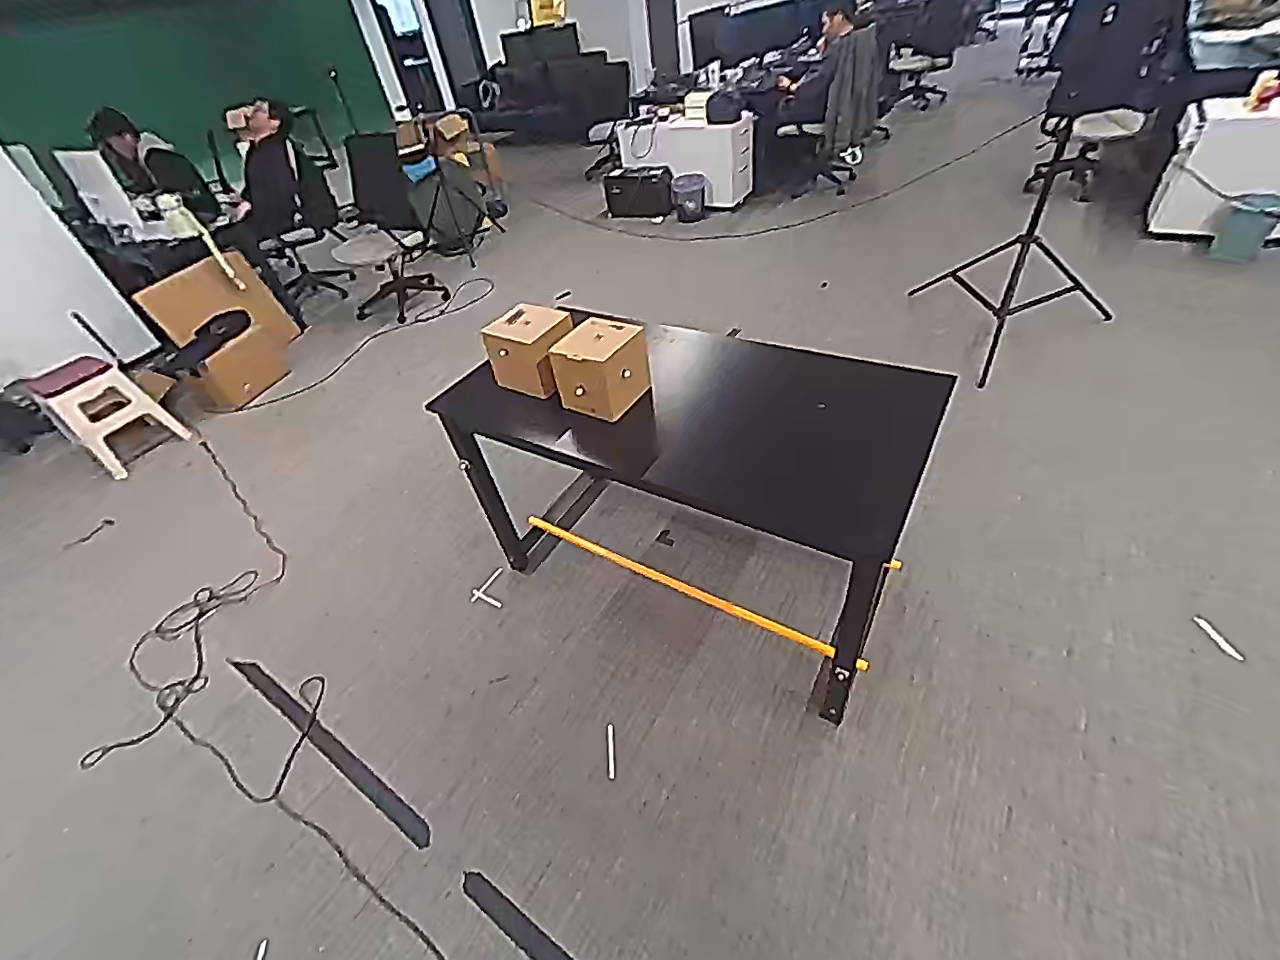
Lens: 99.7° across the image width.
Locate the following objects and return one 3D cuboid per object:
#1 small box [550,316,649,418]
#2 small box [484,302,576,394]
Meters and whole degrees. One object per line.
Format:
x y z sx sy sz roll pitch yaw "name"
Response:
-0.090 -0.279 1.340 0.168 0.176 0.179 20 51 27 "small box"
-0.281 -0.353 1.451 0.179 0.176 0.168 20 51 27 "small box"
